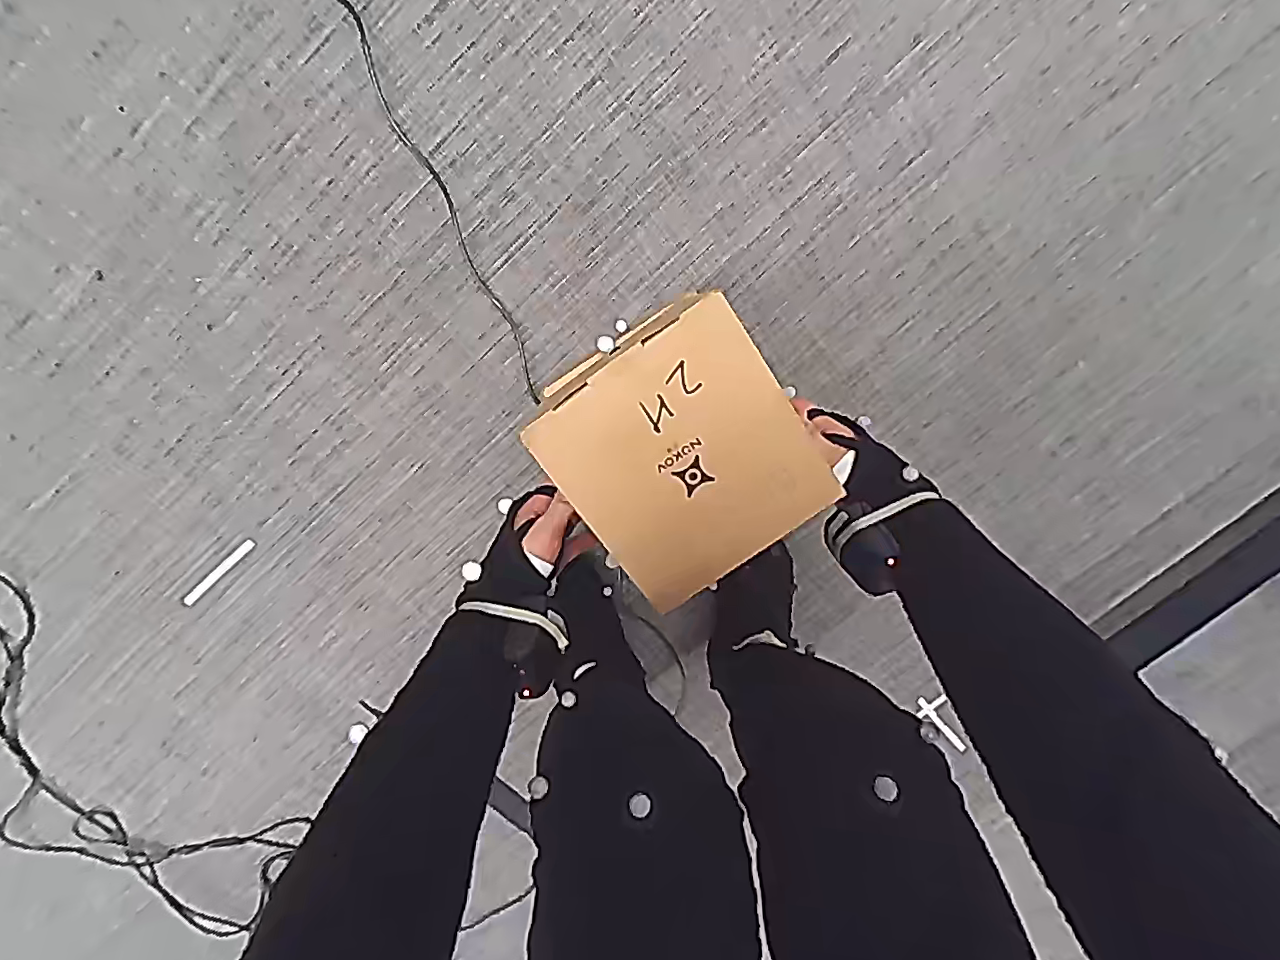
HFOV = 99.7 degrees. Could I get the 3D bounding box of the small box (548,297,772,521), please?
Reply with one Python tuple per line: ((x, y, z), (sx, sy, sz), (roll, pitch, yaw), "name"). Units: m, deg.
((0.017, -0.088, 0.614), (0.179, 0.176, 0.168), (-32, 105, 6), "small box")
